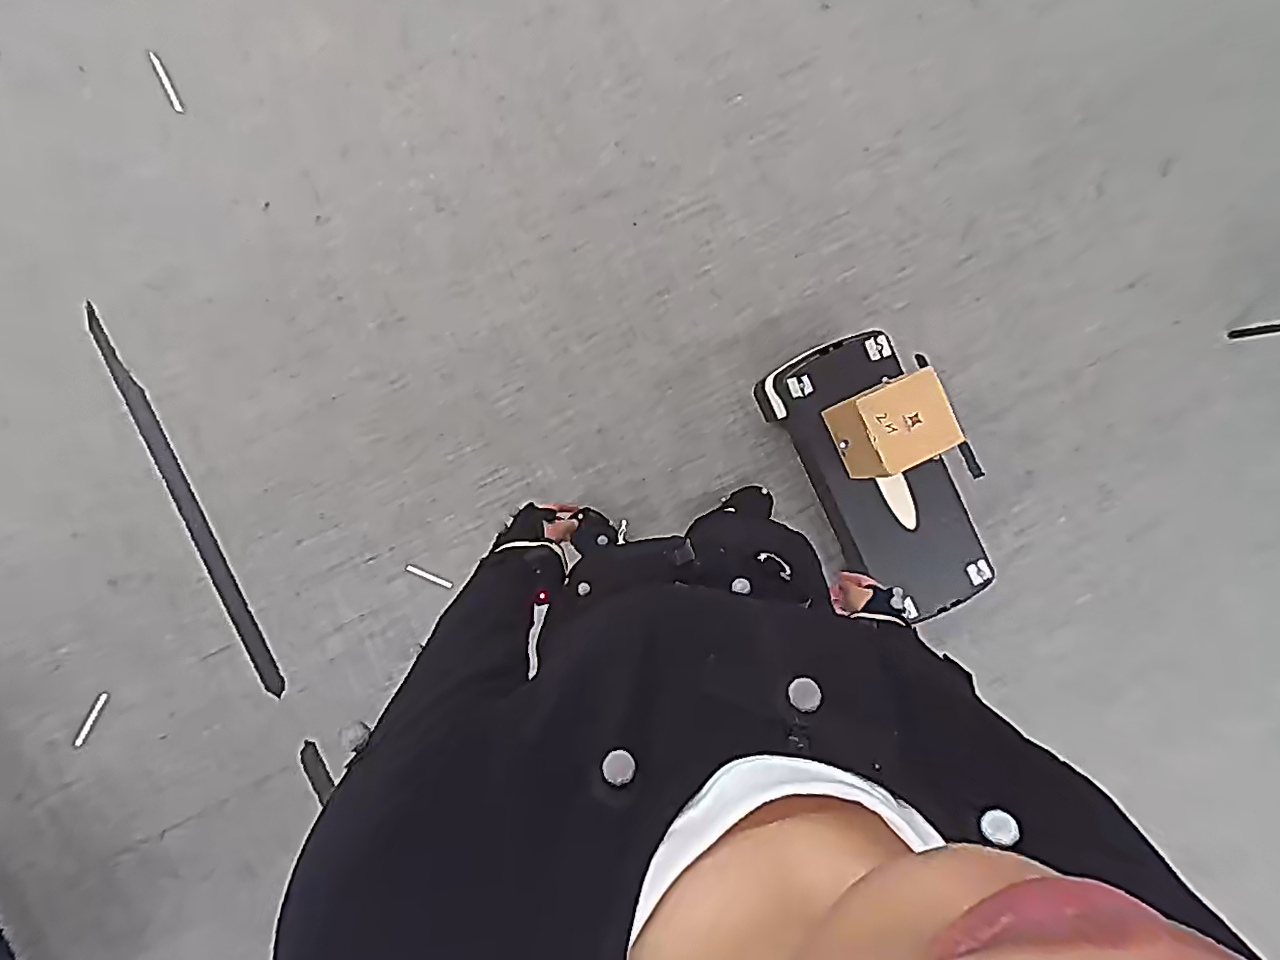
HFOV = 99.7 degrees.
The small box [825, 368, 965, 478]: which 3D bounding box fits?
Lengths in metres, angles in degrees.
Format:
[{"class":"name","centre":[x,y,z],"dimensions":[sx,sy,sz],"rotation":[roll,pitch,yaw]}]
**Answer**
[{"class":"small box","centre":[0.524,-0.113,1.133],"dimensions":[0.179,0.176,0.168],"rotation":[-25,91,-3]}]

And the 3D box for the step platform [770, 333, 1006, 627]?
[{"class":"step platform","centre":[0.589,0.001,1.311],"dimensions":[0.286,0.204,0.684],"rotation":[-26,90,-4]}]
